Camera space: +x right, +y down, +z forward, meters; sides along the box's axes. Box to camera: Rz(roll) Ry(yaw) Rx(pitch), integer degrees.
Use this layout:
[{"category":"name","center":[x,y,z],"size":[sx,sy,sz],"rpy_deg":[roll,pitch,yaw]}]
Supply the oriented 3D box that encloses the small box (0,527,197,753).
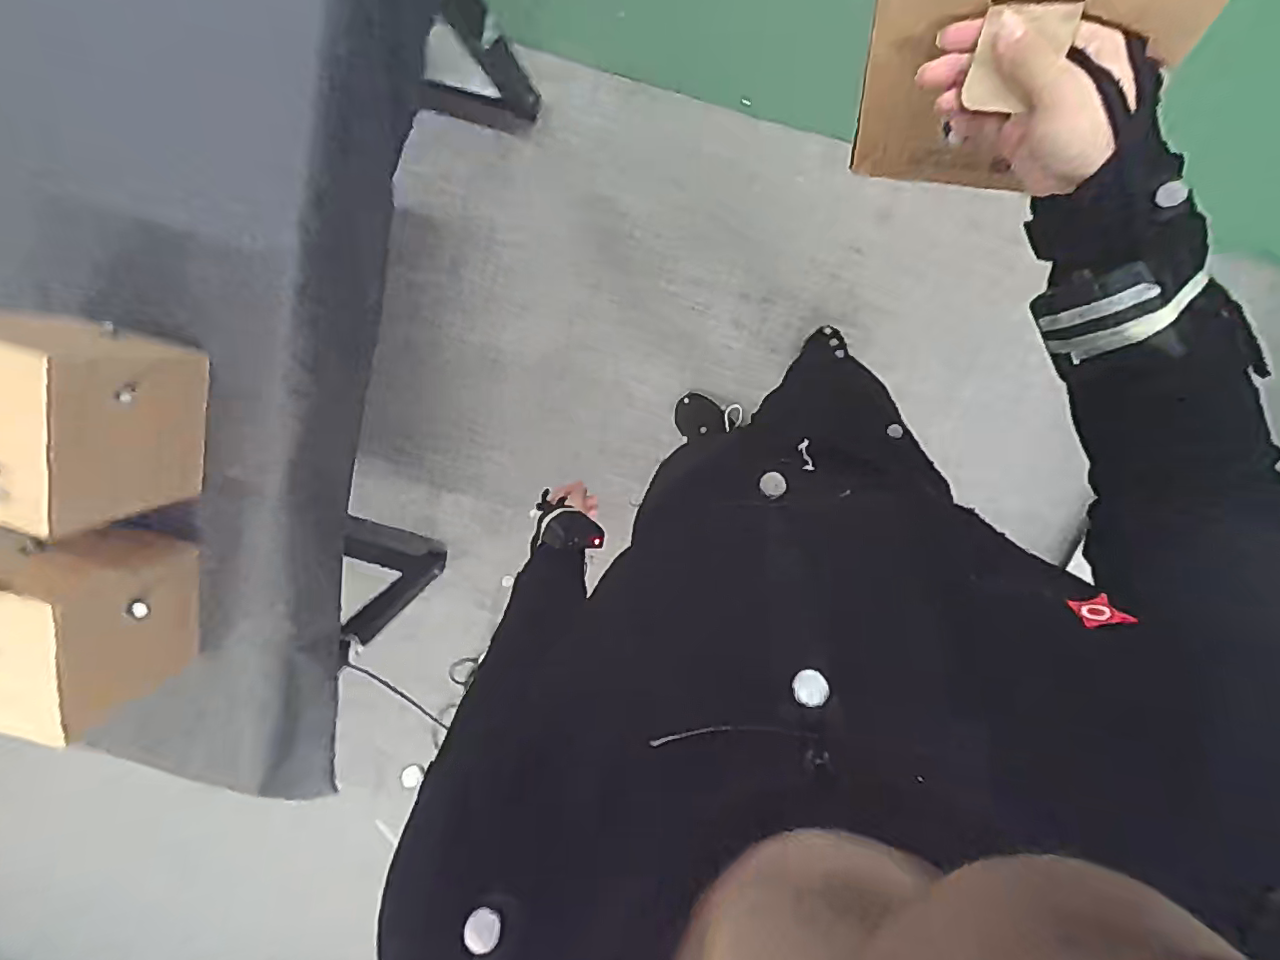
[{"category":"small box","center":[-0.658,0.170,0.624],"size":[0.168,0.176,0.179],"rpy_deg":[12,105,3]}]
